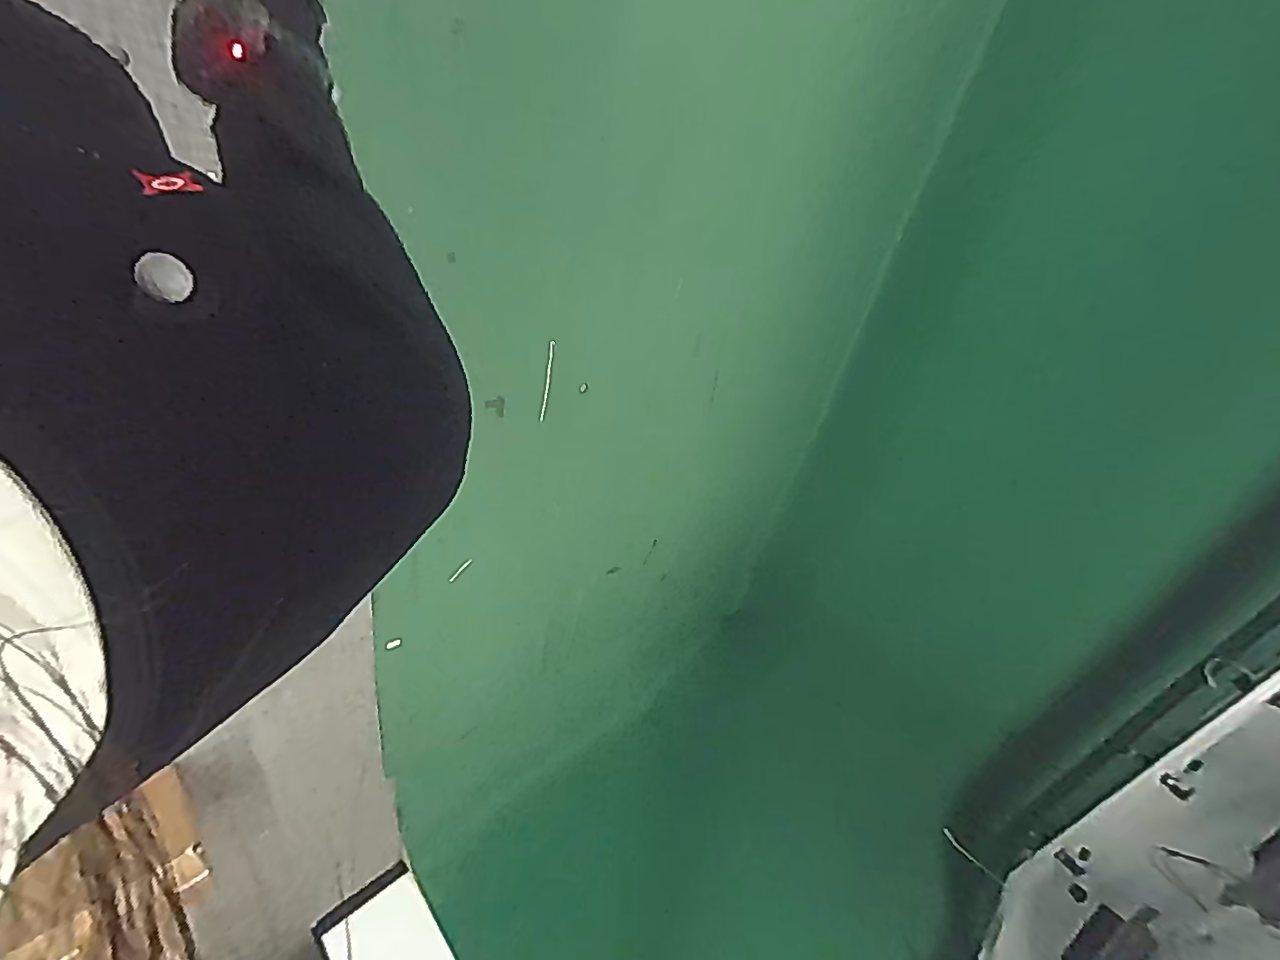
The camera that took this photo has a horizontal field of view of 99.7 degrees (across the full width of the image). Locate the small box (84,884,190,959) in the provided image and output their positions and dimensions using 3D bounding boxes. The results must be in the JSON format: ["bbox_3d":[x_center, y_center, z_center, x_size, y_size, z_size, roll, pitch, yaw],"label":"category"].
[{"bbox_3d":[-1.367,1.264,1.469,0.179,0.176,0.168,-21,130,-40],"label":"small box"}]
